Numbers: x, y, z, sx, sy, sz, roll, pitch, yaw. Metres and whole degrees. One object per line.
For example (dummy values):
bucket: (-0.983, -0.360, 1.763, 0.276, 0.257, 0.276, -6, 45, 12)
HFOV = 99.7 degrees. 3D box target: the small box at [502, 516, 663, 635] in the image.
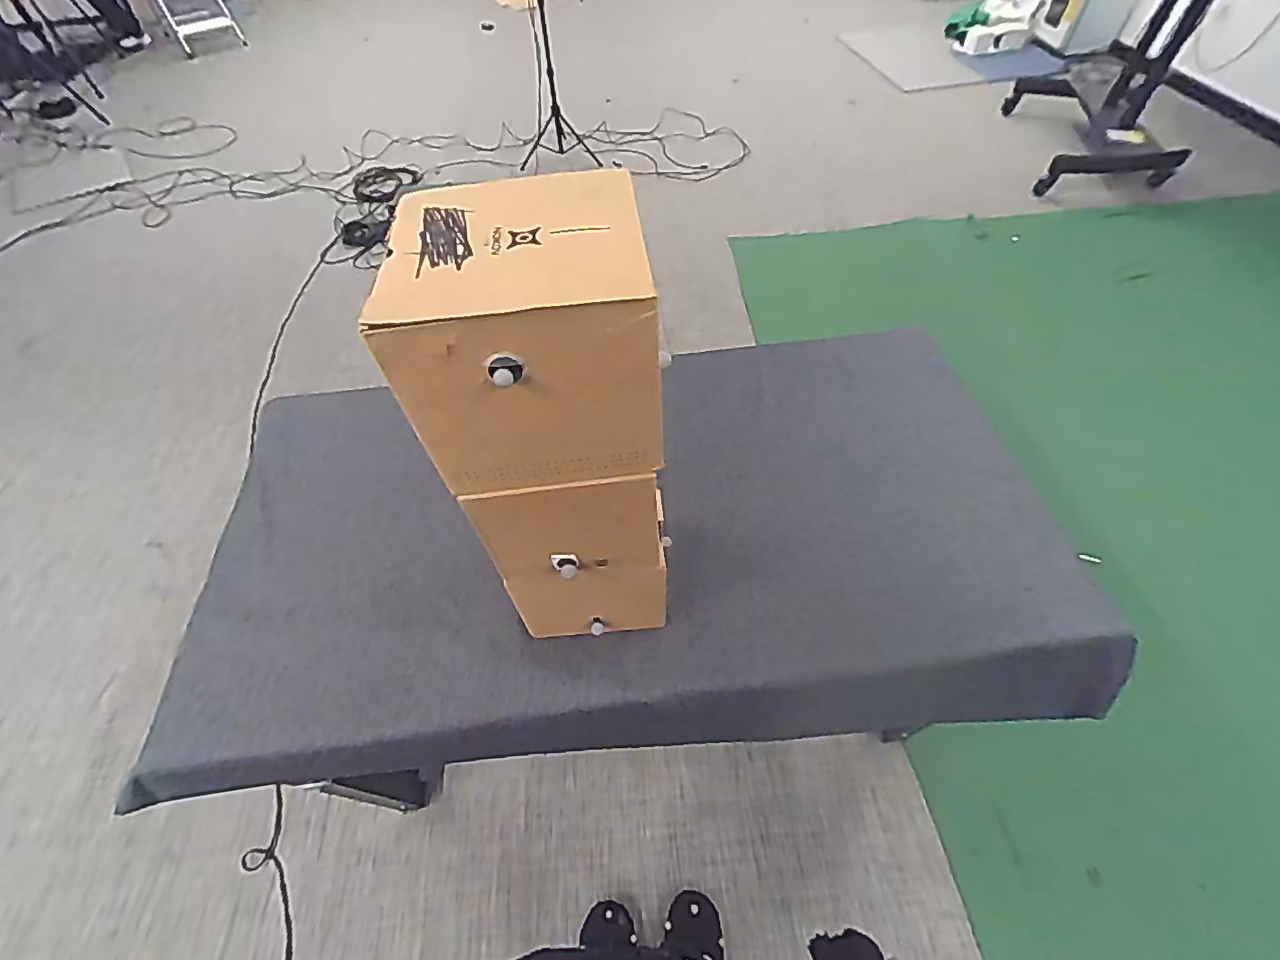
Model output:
small box: (-0.068, 0.086, 0.691, 0.179, 0.176, 0.168, -5, 53, -2)

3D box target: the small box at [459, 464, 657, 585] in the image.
small box: (-0.075, -0.013, 0.563, 0.168, 0.176, 0.179, -8, 55, -1)

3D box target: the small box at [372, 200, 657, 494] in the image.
small box: (-0.083, -0.099, 0.443, 0.179, 0.176, 0.168, -6, 54, -2)
